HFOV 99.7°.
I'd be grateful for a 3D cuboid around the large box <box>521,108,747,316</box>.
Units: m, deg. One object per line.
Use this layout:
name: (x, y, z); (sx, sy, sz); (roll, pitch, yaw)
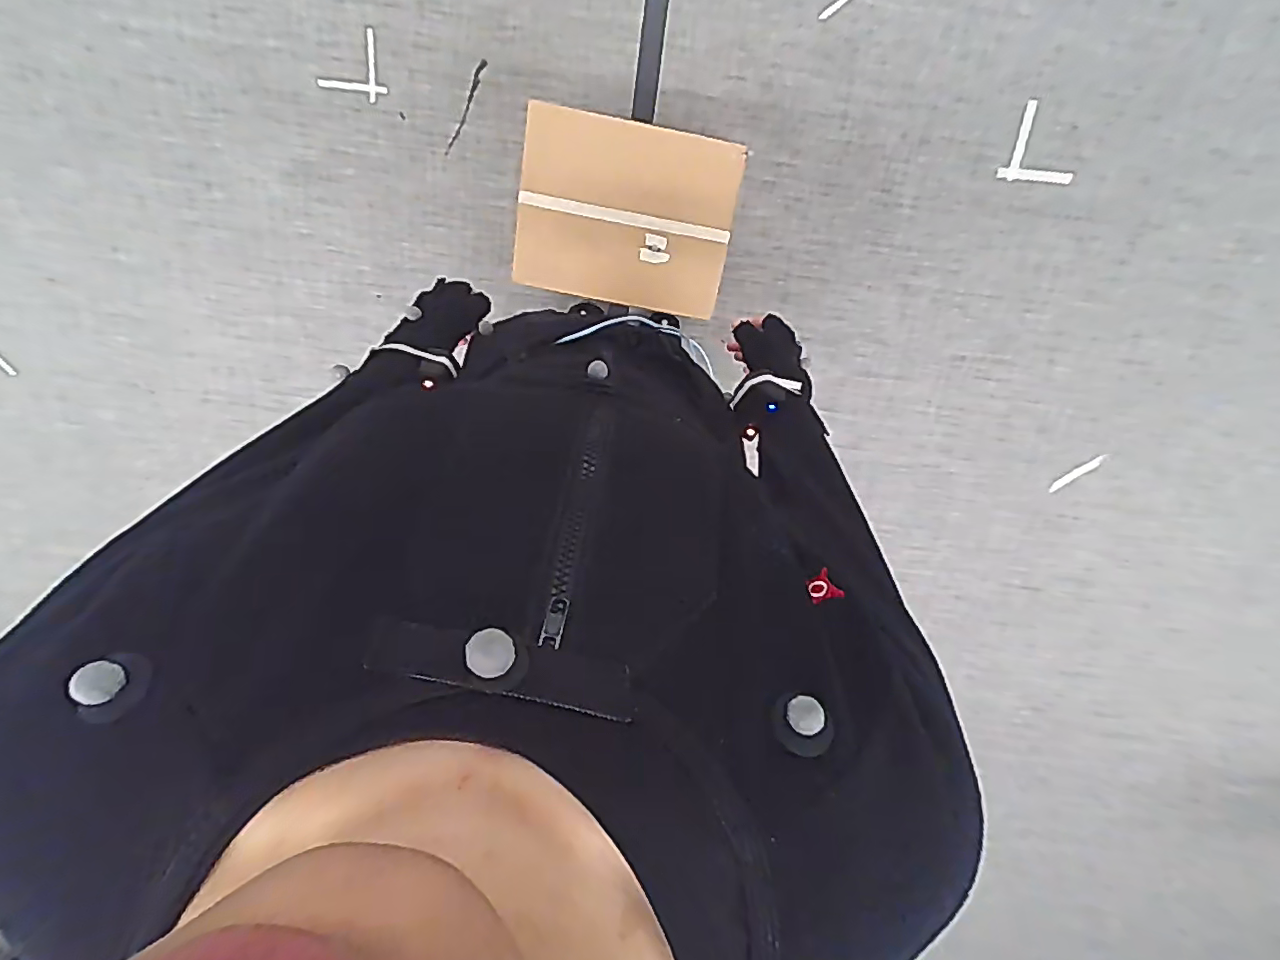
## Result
large box: (-0.023, -0.556, 1.180); (0.408, 0.320, 0.320); (9, 111, -4)
